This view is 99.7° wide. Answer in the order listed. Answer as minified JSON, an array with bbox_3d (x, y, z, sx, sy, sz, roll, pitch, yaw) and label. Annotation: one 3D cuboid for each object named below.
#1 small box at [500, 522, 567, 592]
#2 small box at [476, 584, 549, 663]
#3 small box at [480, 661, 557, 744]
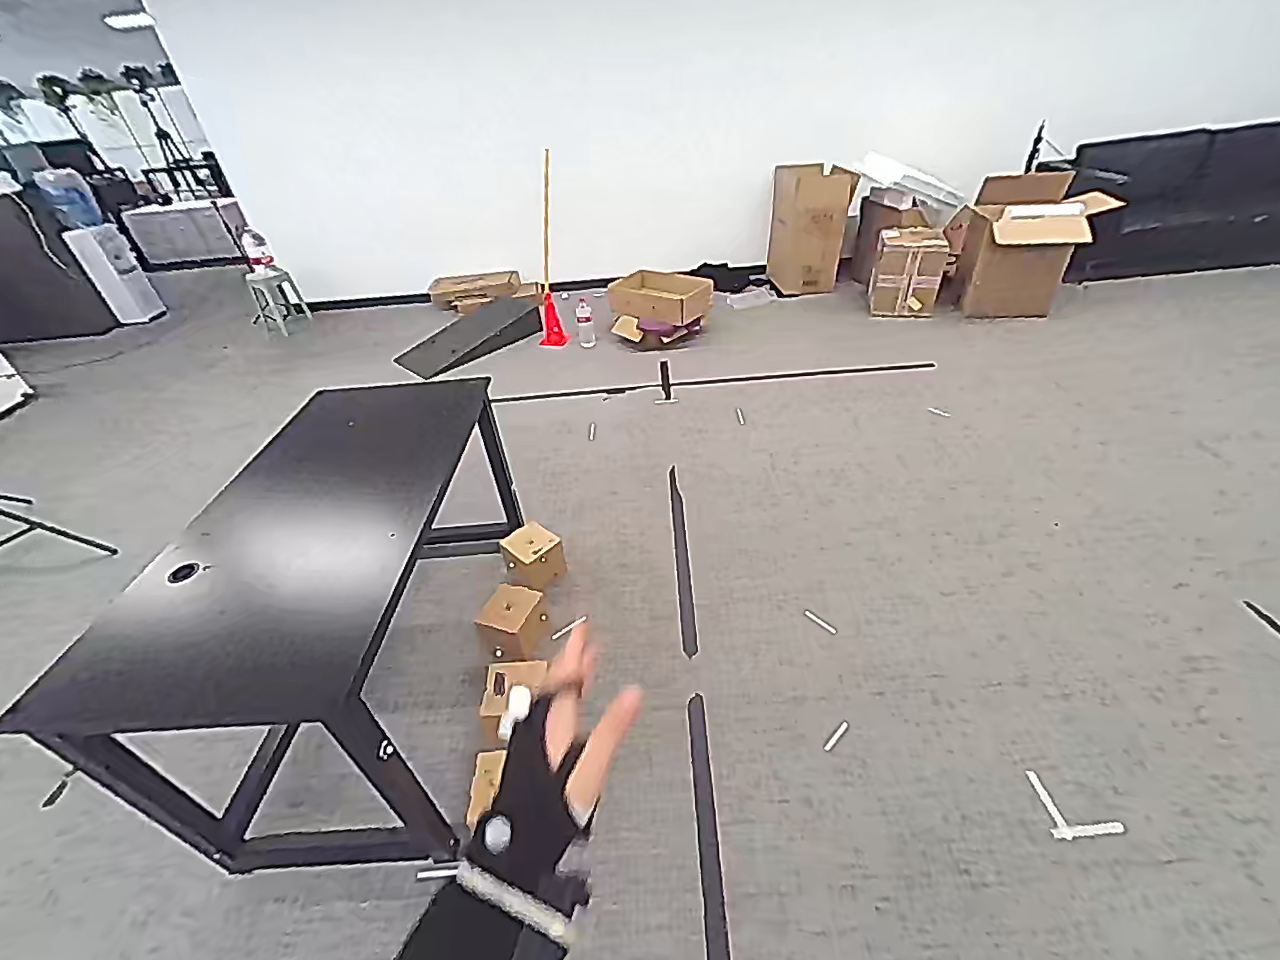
[{"bbox_3d":[-0.404,0.296,2.063,0.179,0.176,0.168,27,48,35],"label":"small box"},{"bbox_3d":[-0.421,0.484,1.826,0.168,0.176,0.179,8,41,19],"label":"small box"},{"bbox_3d":[-0.350,0.657,1.589,0.179,0.176,0.168,-4,38,0],"label":"small box"}]
